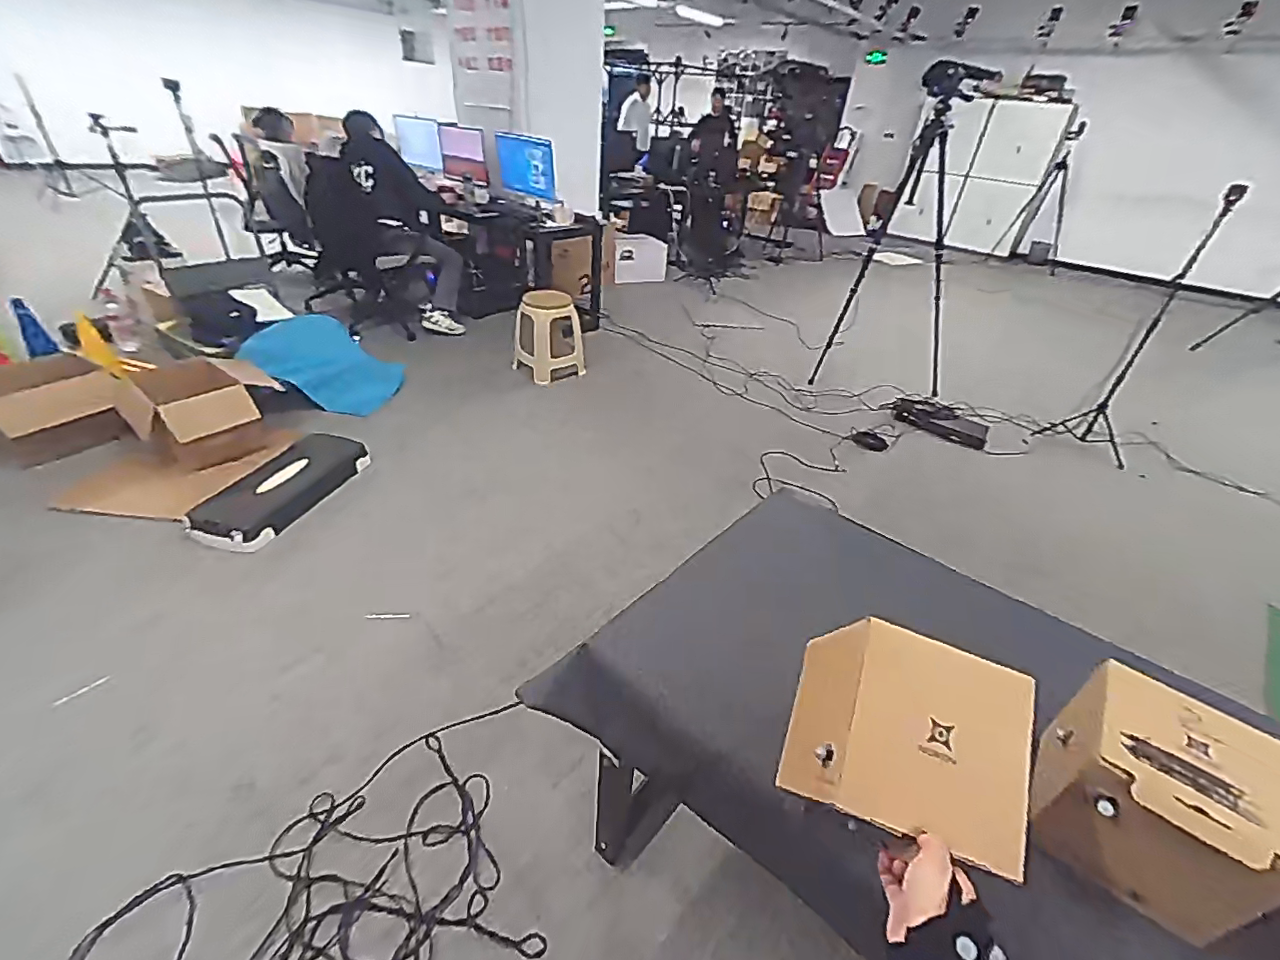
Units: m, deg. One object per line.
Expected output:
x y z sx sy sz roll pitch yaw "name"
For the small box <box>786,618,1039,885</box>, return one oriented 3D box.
0.268 0.267 0.560 0.168 0.176 0.179 21 66 5 "small box"
